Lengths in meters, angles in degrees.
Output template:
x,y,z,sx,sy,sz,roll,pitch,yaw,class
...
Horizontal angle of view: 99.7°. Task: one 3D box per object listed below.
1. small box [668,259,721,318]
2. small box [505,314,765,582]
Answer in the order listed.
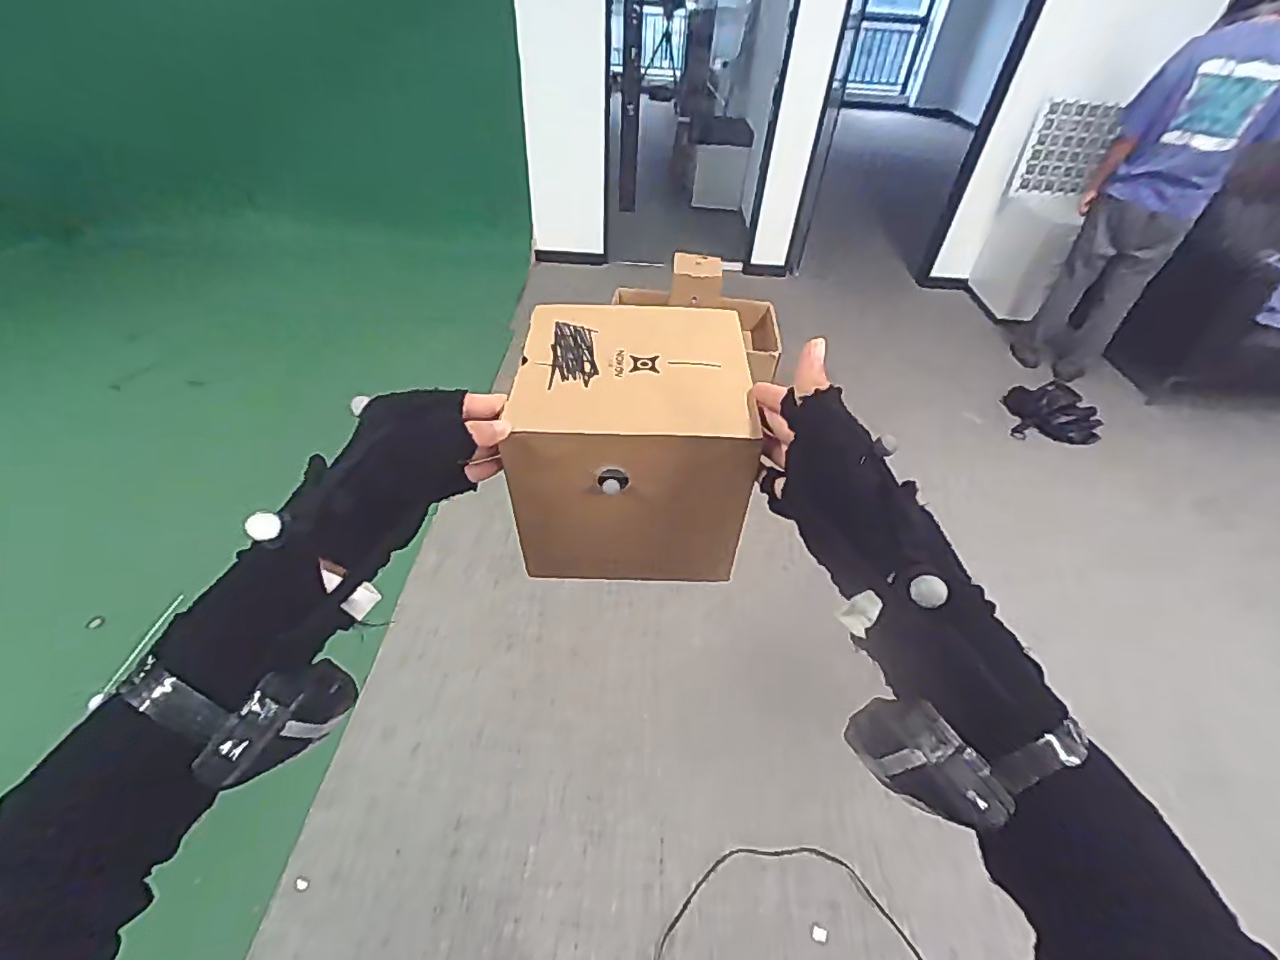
x,y,z,sx,sy,sz,roll,pitch,yaw,class
0.193,-0.662,1.917,0.168,0.176,0.179,7,44,0,small box
-0.002,-0.026,0.467,0.179,0.176,0.168,2,46,0,small box
